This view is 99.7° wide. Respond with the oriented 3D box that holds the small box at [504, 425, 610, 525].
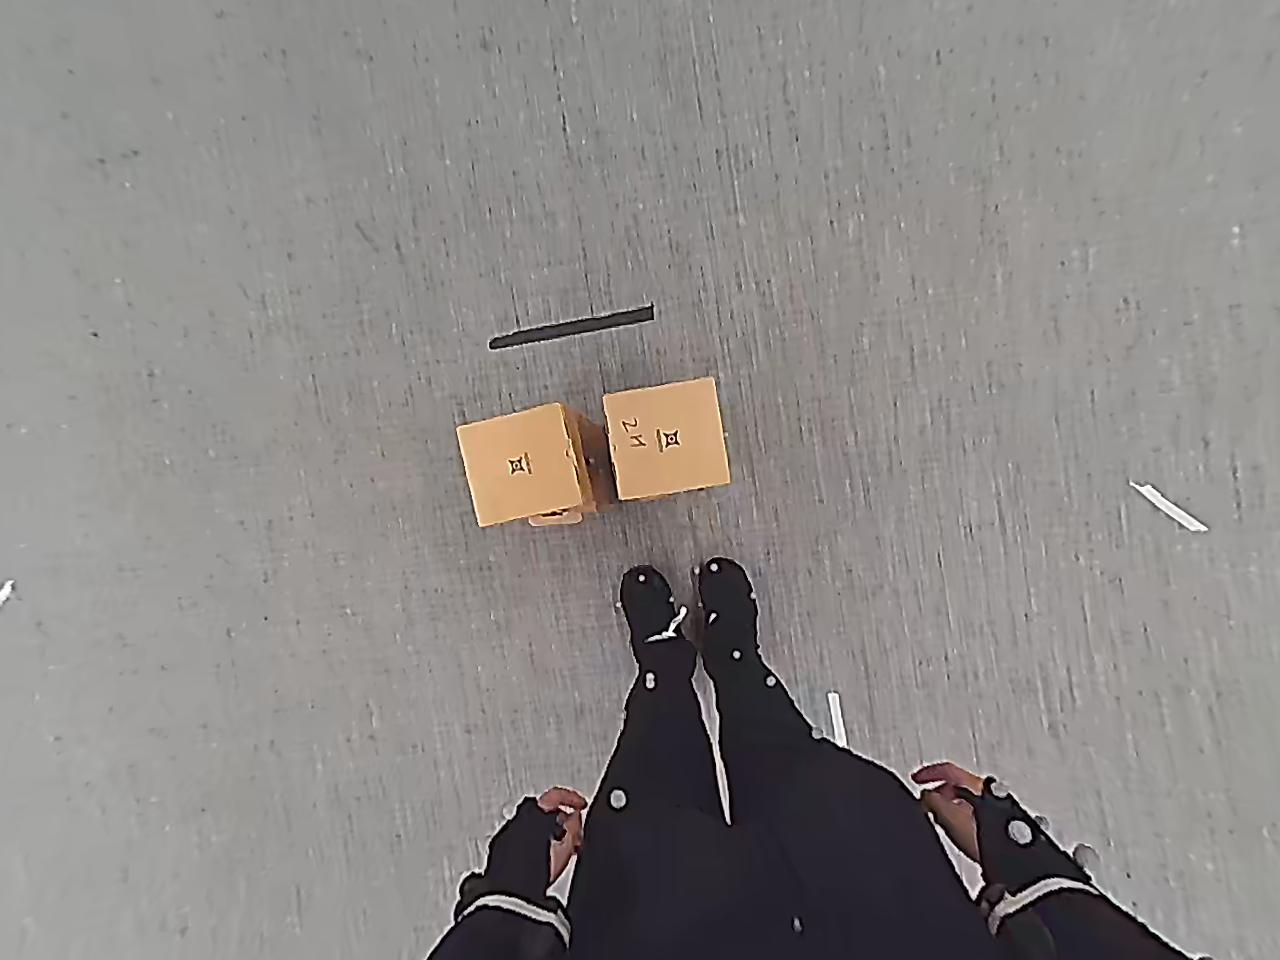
[{"bbox_3d":[-0.158,-0.010,1.085,0.168,0.176,0.179,-6,90,5],"label":"small box"}]
